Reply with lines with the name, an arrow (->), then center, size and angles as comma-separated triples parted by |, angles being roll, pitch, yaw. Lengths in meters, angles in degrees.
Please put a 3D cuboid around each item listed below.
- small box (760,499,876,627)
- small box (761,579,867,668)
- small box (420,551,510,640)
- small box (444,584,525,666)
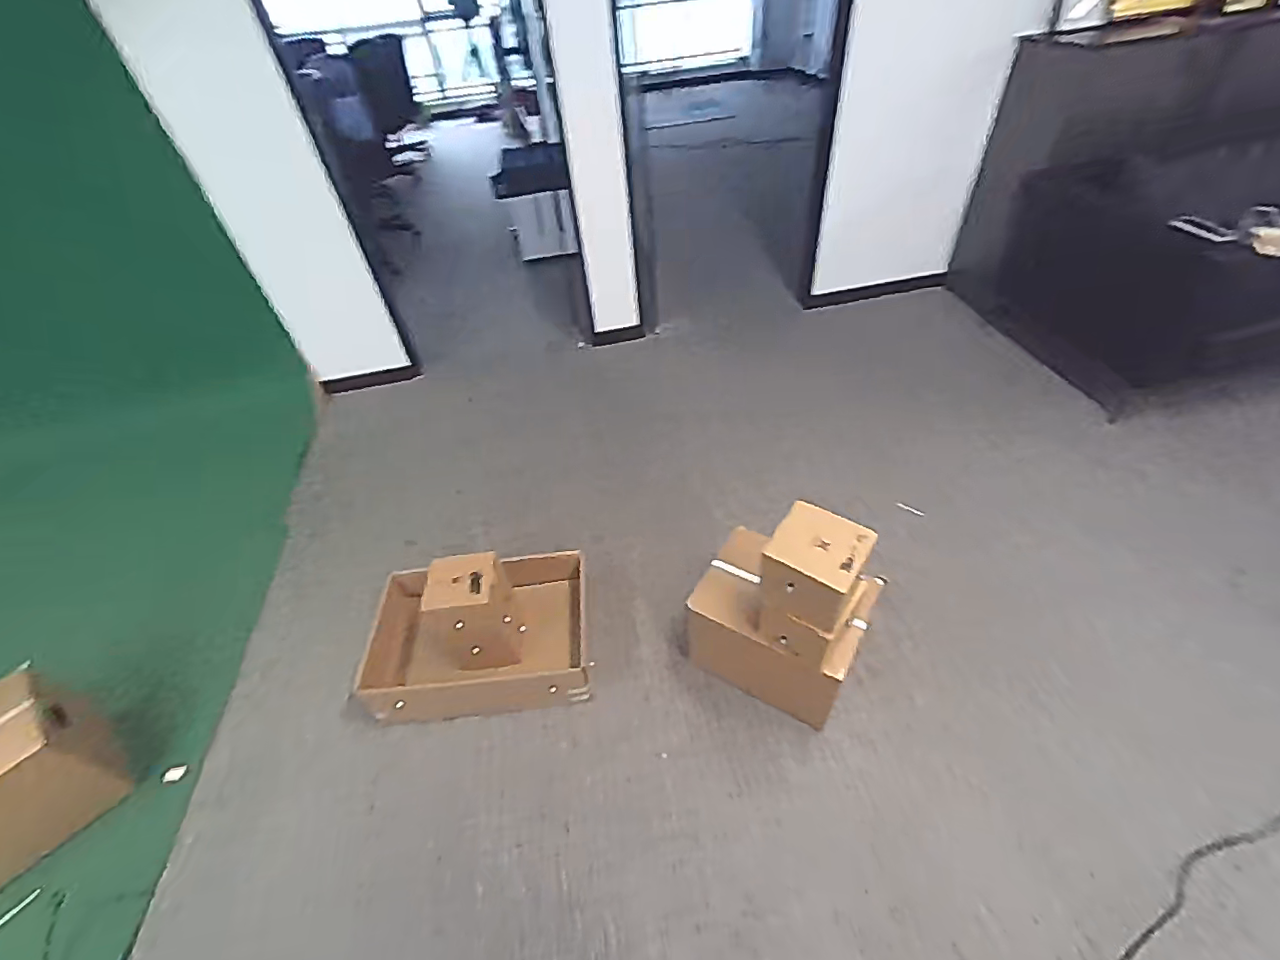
small box -> 0.364, 0.177, 1.132 | 0.179, 0.176, 0.168 | 25, 57, 29
small box -> 0.392, 0.293, 1.246 | 0.168, 0.176, 0.179 | 30, 59, 30
small box -> -0.462, 0.314, 1.463 | 0.179, 0.176, 0.168 | -8, 45, 2
small box -> -0.446, 0.428, 1.580 | 0.179, 0.176, 0.168 | -7, 46, 0
